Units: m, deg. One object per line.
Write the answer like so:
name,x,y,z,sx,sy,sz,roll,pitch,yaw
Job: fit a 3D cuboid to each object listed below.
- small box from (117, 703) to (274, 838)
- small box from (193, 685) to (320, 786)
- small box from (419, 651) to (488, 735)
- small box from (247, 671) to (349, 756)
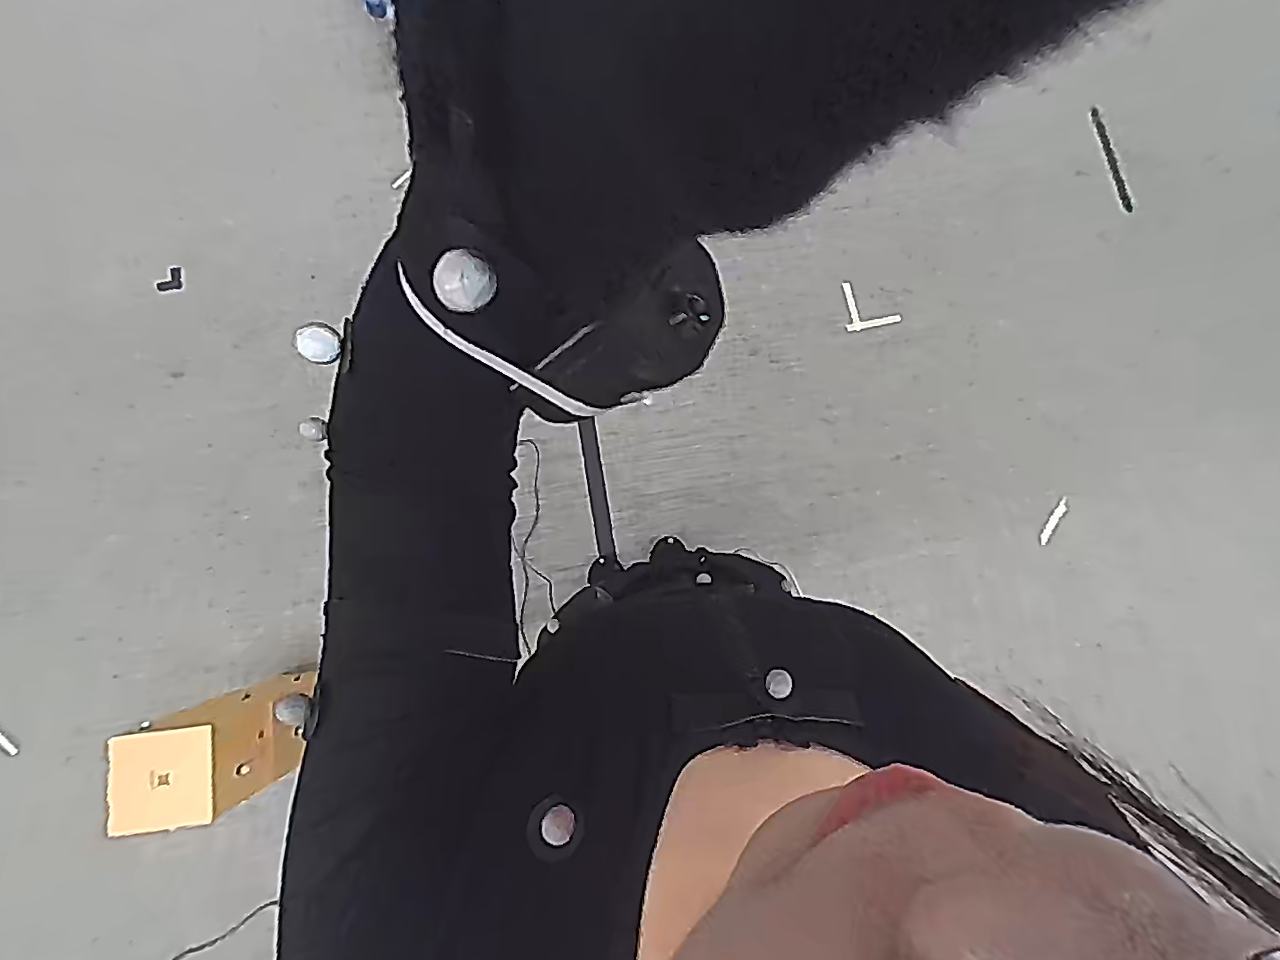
small box,-0.825,0.537,1.024,0.179,0.176,0.168,-7,83,-3
small box,-0.830,0.558,1.185,0.179,0.176,0.168,-5,82,-3
small box,-0.488,0.537,1.372,0.168,0.176,0.179,-3,83,-3
small box,-0.847,0.584,1.348,0.179,0.176,0.168,-6,82,-4
